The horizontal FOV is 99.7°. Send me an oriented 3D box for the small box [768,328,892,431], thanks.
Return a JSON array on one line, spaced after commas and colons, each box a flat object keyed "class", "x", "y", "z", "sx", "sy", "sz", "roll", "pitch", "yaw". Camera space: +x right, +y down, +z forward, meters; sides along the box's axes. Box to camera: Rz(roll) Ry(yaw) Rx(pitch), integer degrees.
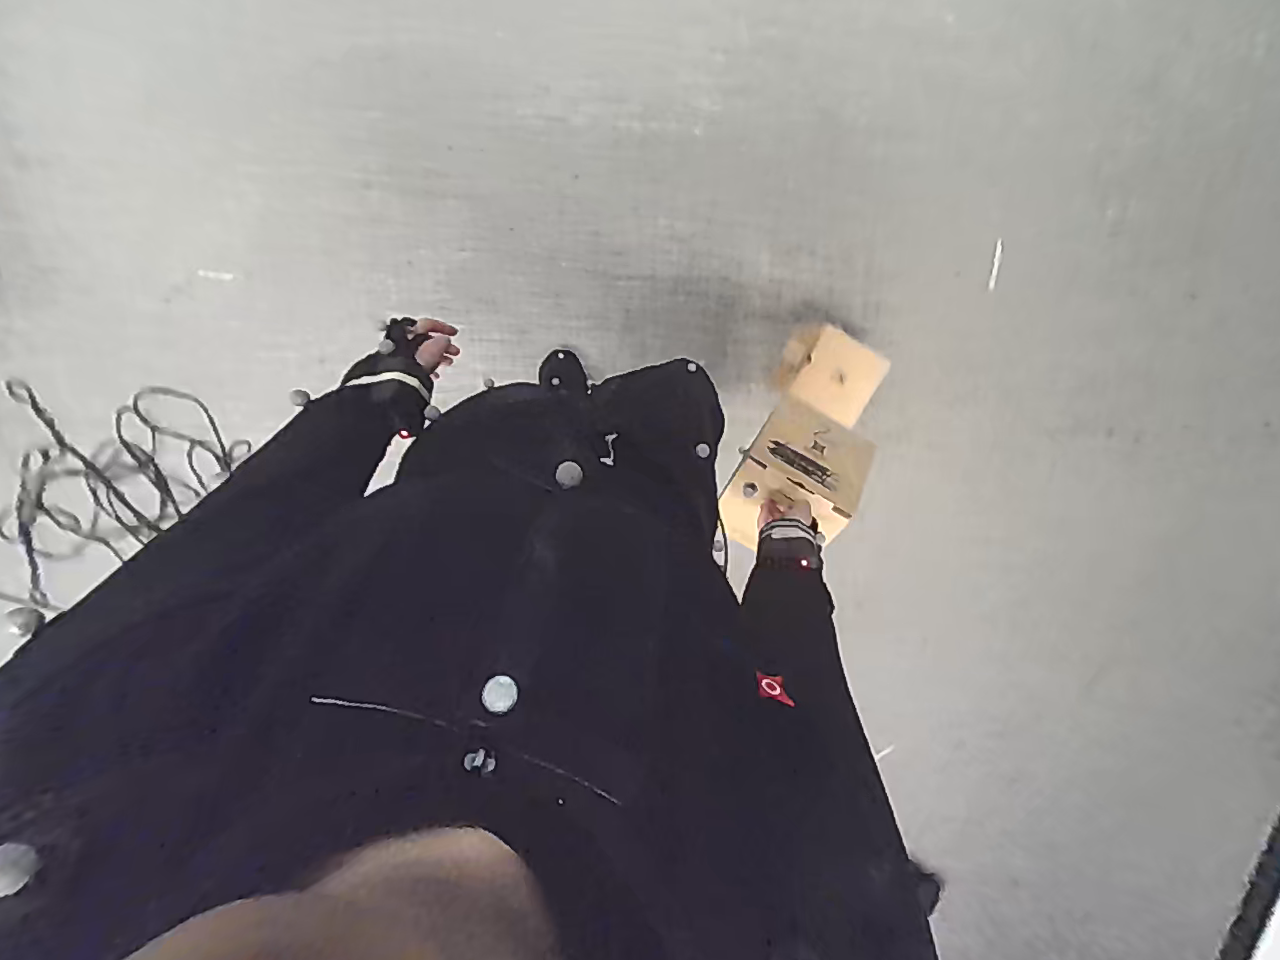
[{"class": "small box", "x": 0.427, "y": -0.237, "z": 1.243, "sx": 0.179, "sy": 0.176, "sz": 0.168, "roll": 27, "pitch": 102, "yaw": -11}]
